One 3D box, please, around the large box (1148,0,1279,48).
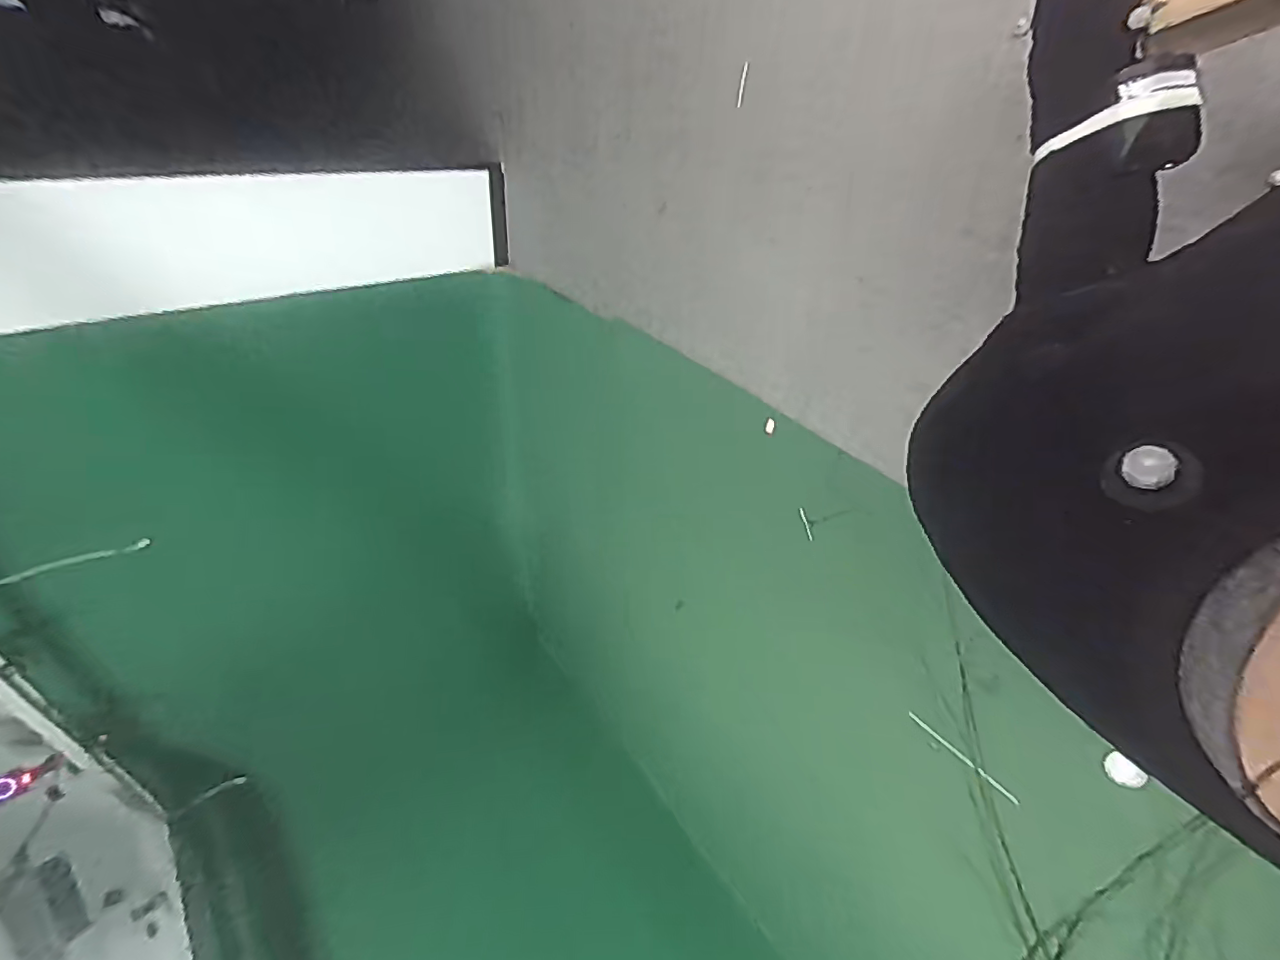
[{"bbox_3d":[0.547,-0.513,0.283,0.408,0.320,0.320,2,116,43],"label":"large box"}]
